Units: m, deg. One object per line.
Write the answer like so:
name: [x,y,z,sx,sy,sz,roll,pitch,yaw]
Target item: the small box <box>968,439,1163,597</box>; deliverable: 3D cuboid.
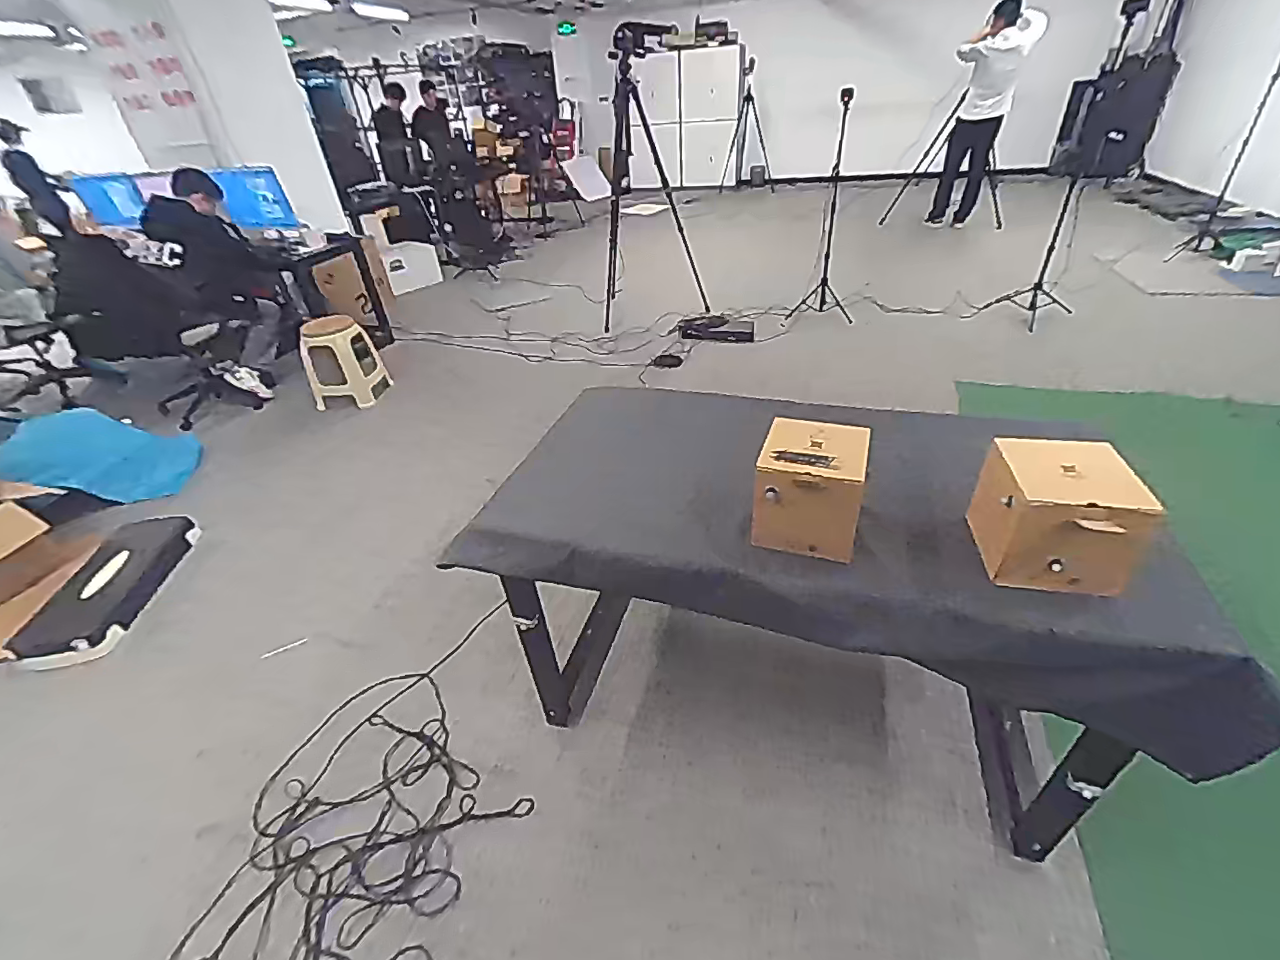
small box: [0.642,0.055,0.847,0.168,0.176,0.179,4,36,13]
